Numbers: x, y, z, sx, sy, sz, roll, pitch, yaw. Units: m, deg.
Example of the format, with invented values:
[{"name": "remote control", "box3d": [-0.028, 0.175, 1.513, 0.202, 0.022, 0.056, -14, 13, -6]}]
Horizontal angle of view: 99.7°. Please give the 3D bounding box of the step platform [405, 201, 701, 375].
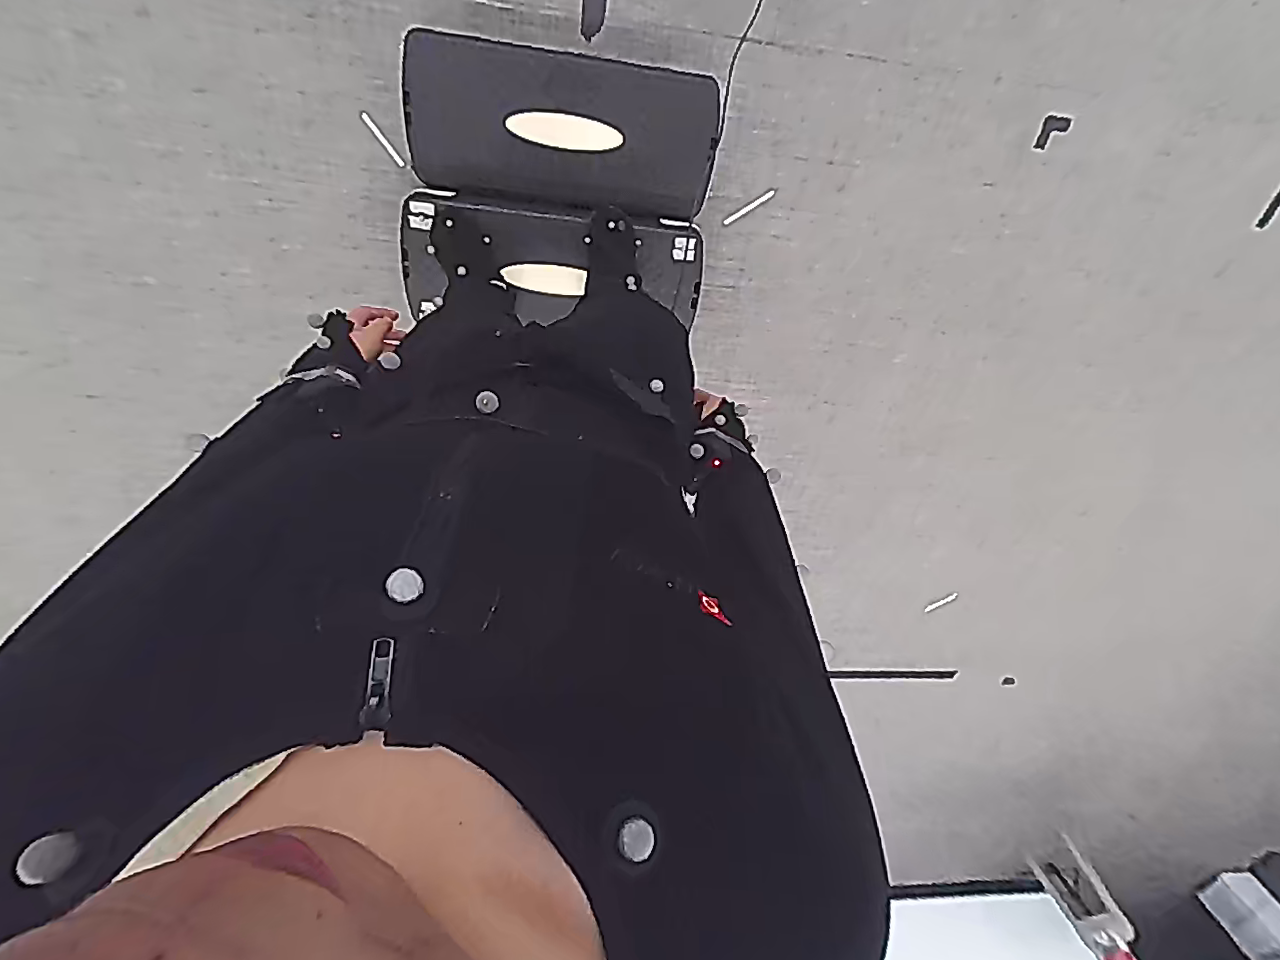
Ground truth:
[{"name": "step platform", "box3d": [-0.198, -0.454, 1.308, 0.684, 0.204, 0.286, 8, 118, -9]}]
